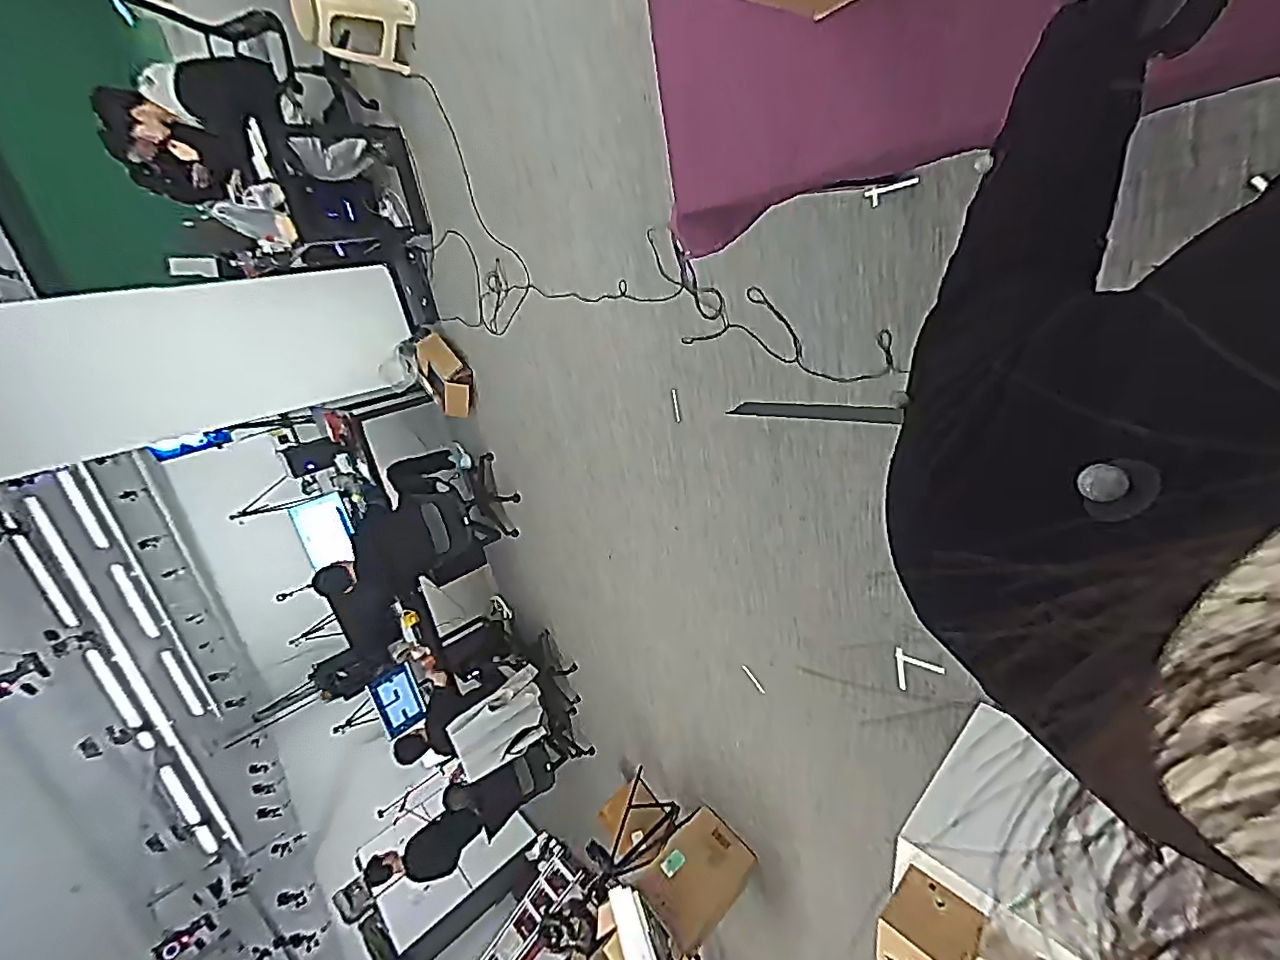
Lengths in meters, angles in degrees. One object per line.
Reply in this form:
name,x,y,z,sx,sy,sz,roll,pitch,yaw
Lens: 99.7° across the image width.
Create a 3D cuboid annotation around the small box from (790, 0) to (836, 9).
small box,0.203,-0.648,0.570,0.168,0.176,0.179,11,120,48
